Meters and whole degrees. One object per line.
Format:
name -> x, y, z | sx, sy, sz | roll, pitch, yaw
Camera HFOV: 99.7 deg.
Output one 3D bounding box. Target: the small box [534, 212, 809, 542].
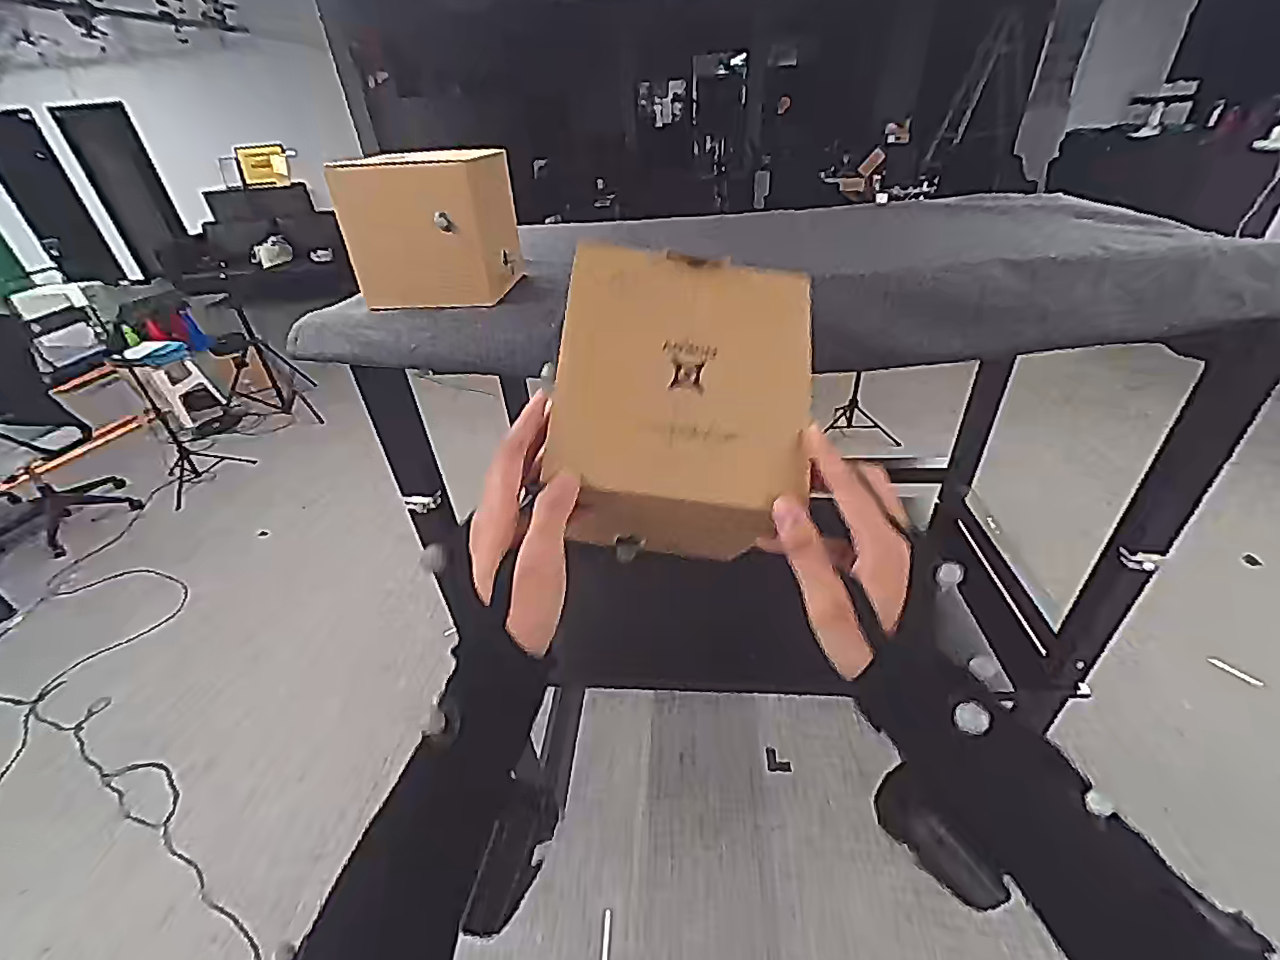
small box -> 0.017, -0.062, 0.415 | 0.168, 0.176, 0.179 | 7, 71, -5
